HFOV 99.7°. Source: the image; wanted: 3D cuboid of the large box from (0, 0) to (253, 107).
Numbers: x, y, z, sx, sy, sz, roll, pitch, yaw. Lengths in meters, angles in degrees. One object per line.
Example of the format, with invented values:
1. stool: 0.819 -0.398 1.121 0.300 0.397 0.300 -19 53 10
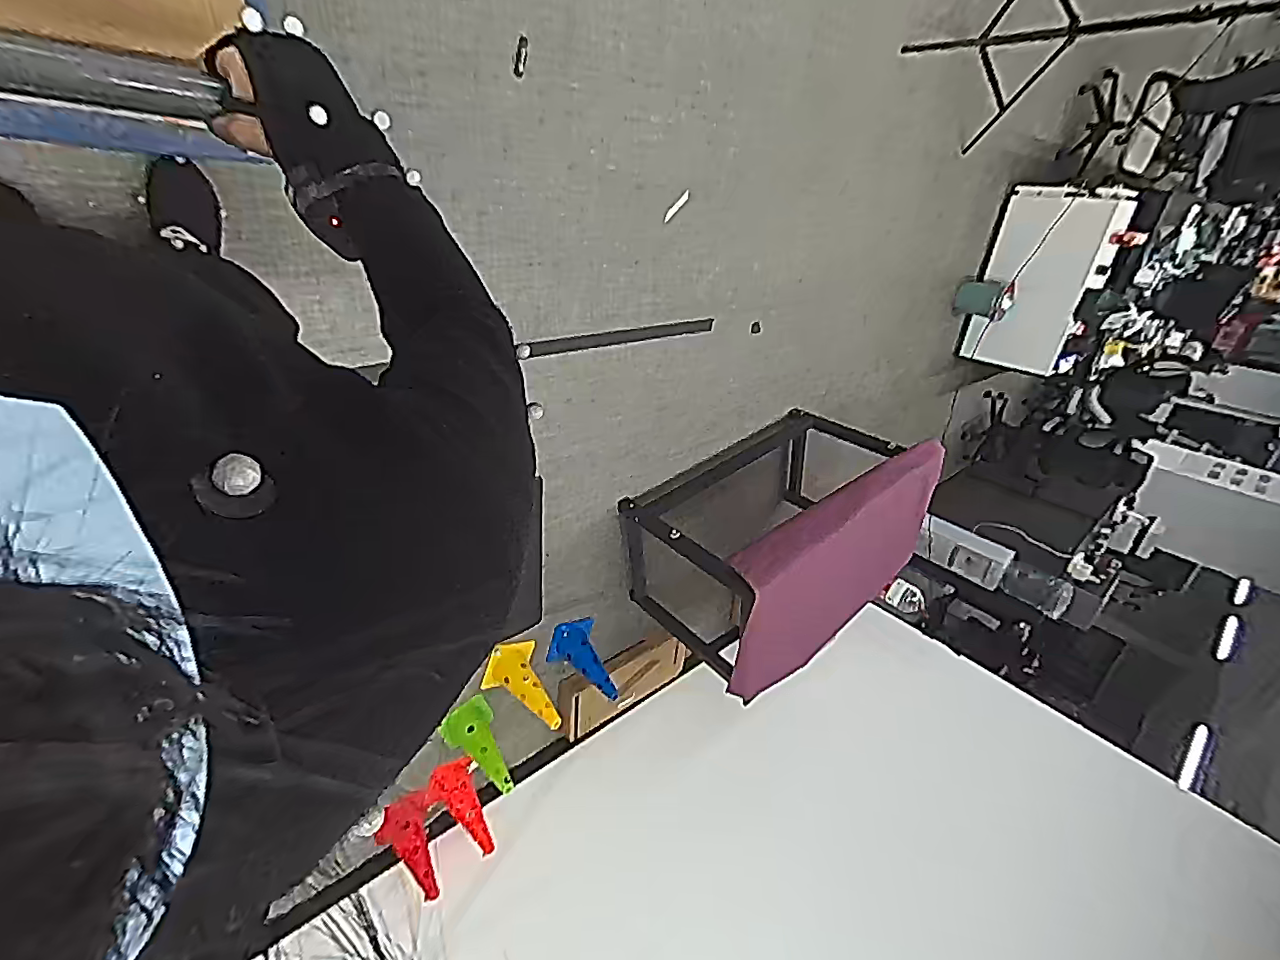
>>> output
1. large box: -0.744 -0.661 0.625 0.408 0.320 0.320 -16 124 -38
